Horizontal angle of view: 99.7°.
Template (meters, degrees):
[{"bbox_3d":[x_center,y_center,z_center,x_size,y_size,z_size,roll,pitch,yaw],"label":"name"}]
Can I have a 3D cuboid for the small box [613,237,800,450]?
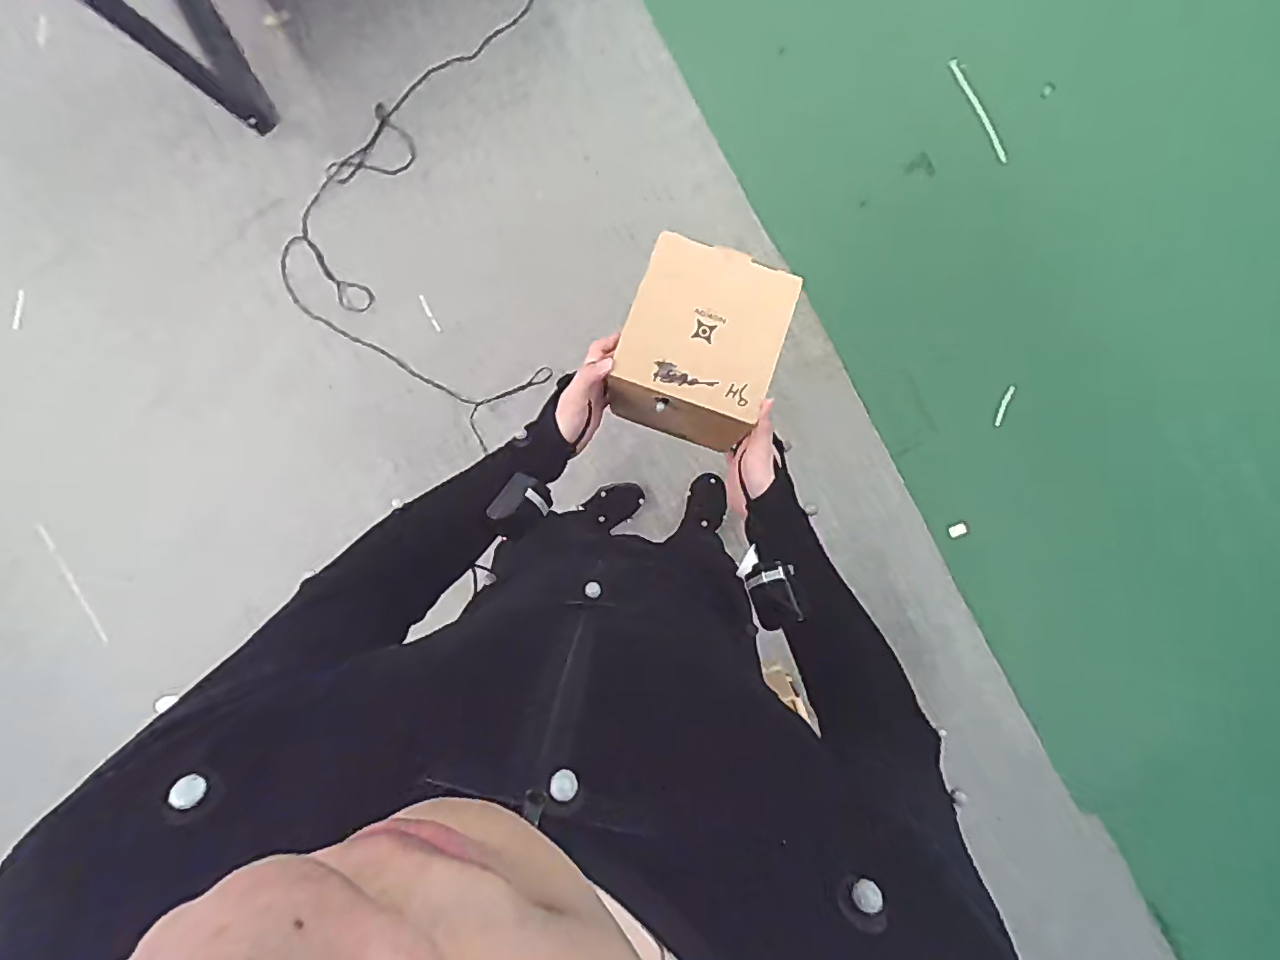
[{"bbox_3d":[0.069,-0.151,0.659,0.168,0.176,0.179,19,84,-1],"label":"small box"}]
